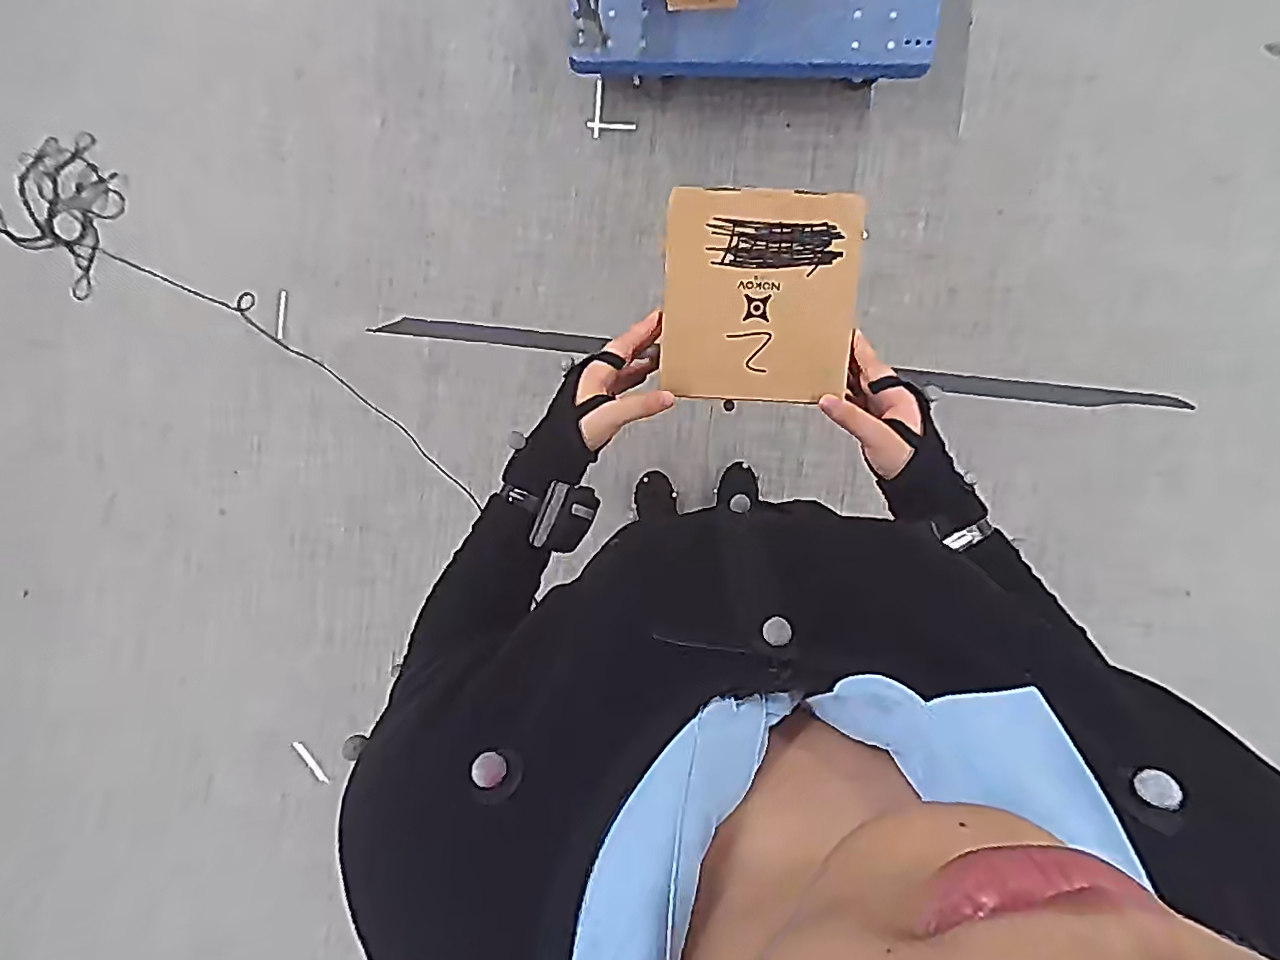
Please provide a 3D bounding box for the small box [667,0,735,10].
[{"bbox_3d":[0.140,-1.198,1.197,0.168,0.176,0.179,1,92,4],"label":"small box"}]
